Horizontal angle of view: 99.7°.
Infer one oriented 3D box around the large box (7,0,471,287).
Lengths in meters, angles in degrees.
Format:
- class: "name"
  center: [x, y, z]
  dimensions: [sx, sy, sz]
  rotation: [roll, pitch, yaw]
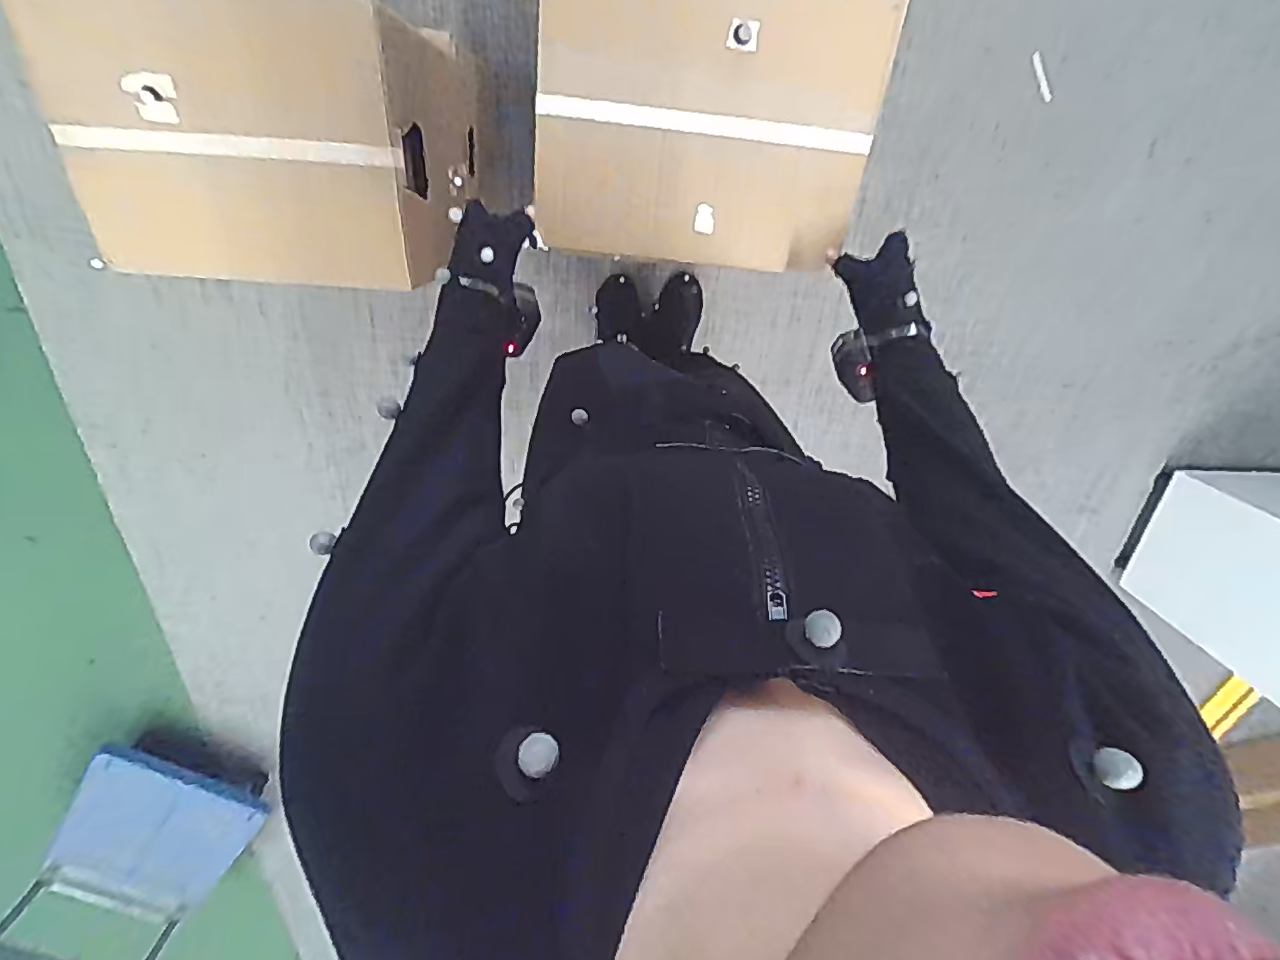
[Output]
- class: "large box"
  center: [-0.498, -0.480, 0.783]
  dimensions: [0.408, 0.320, 0.320]
  rotation: [4, 119, -1]
